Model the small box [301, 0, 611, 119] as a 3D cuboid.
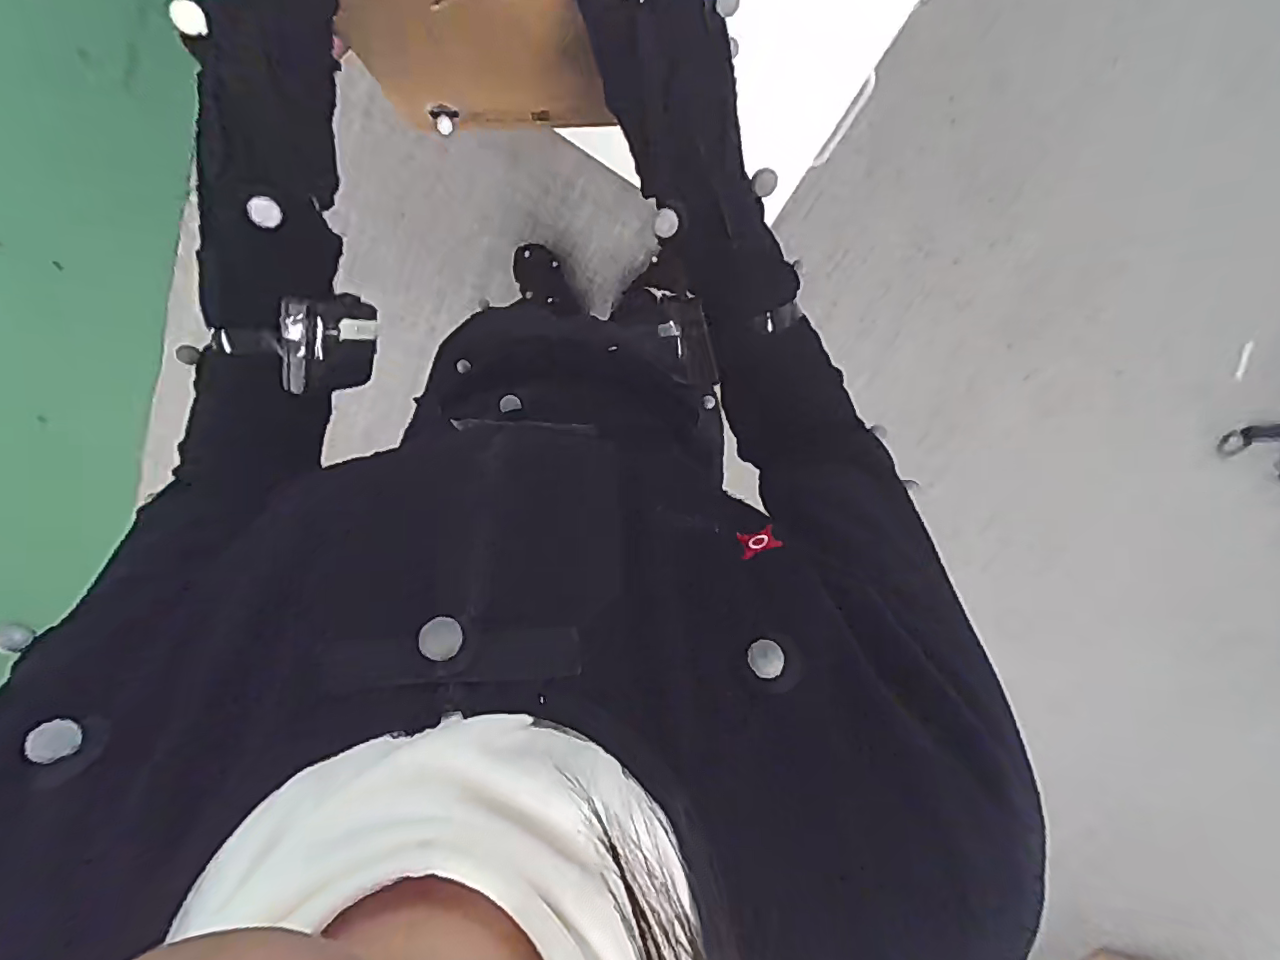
[{"bbox_3d":[-0.108,-0.356,0.340,0.168,0.176,0.179,-3,96,0],"label":"small box"}]
